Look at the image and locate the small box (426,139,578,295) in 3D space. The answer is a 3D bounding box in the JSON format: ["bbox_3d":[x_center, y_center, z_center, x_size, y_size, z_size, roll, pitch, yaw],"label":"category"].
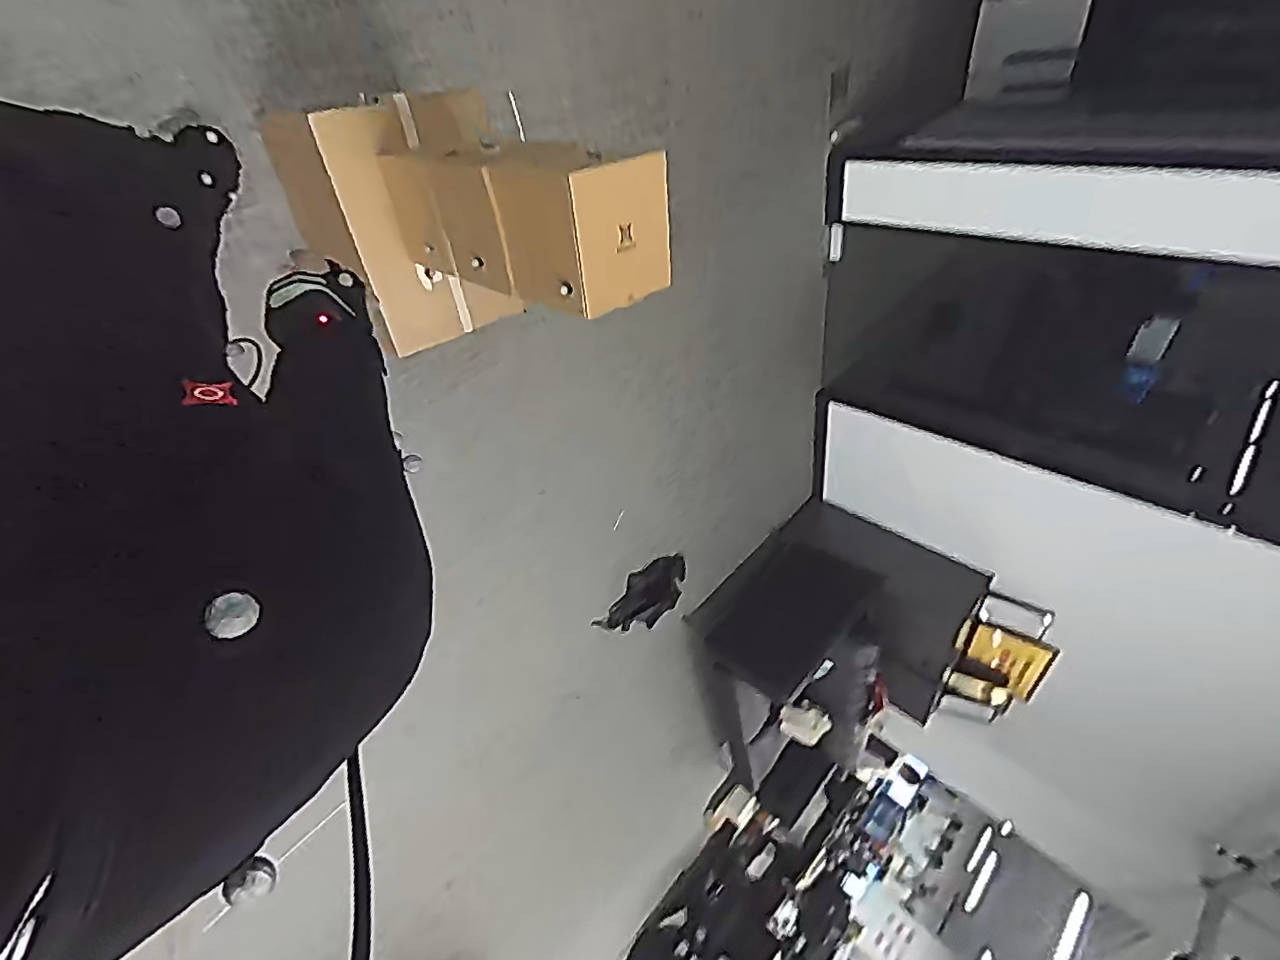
[{"bbox_3d":[-0.197,-0.412,0.836,0.168,0.176,0.179,-37,137,-30],"label":"small box"}]

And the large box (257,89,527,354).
[{"bbox_3d":[-0.482,-0.532,1.103,0.320,0.320,0.408,-33,136,-30],"label":"large box"}]

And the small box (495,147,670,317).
[{"bbox_3d":[-0.076,-0.349,0.746,0.168,0.176,0.179,-34,137,-32],"label":"small box"}]
